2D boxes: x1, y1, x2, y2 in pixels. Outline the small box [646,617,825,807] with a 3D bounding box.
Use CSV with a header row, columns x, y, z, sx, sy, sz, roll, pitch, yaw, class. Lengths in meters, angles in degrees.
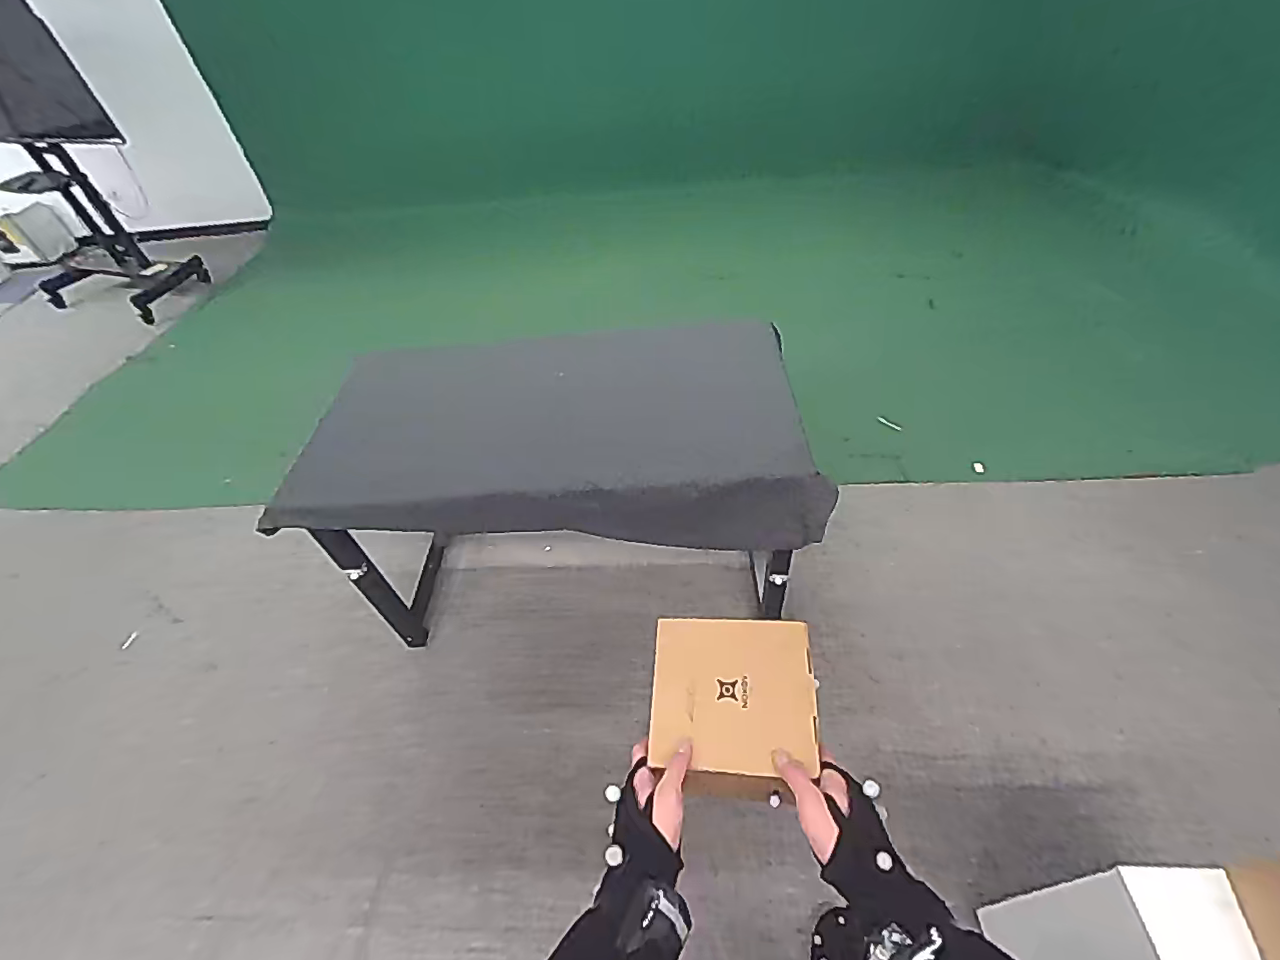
x,y,z,sx,sy,sz,roll,pitch,yaw,class
0.110,0.275,0.638,0.179,0.176,0.168,-2,49,10,small box
